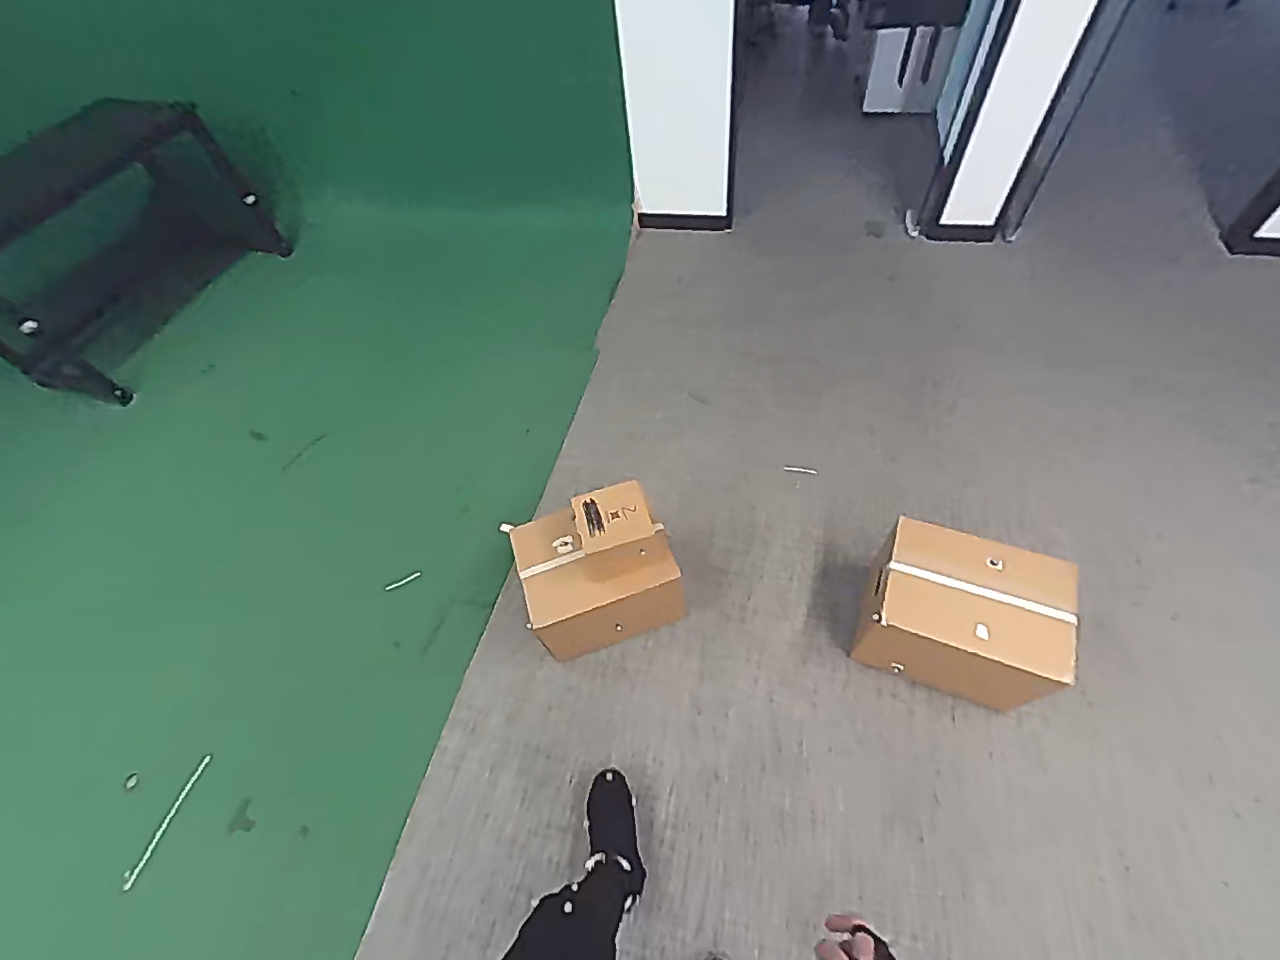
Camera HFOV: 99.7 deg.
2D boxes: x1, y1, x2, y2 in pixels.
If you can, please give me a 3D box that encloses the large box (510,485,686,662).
[{"bbox_3d":[-0.112,0.278,1.572,0.408,0.320,0.320,-20,55,-5],"label":"large box"}]
